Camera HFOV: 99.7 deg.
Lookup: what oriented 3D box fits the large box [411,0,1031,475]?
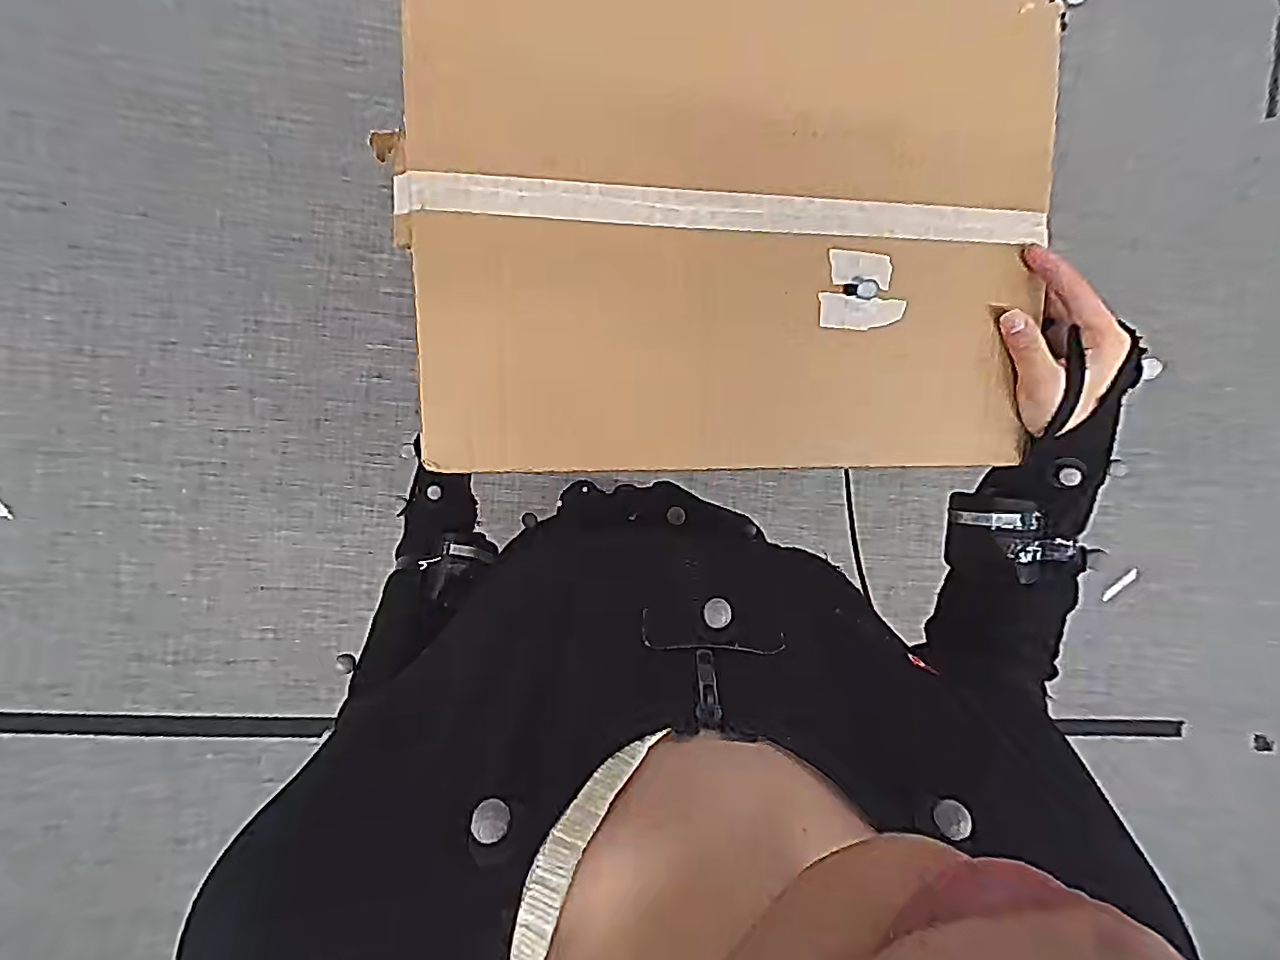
[{"bbox_3d":[0.043,-0.178,0.489,0.408,0.320,0.320,-1,97,-10],"label":"large box"}]
